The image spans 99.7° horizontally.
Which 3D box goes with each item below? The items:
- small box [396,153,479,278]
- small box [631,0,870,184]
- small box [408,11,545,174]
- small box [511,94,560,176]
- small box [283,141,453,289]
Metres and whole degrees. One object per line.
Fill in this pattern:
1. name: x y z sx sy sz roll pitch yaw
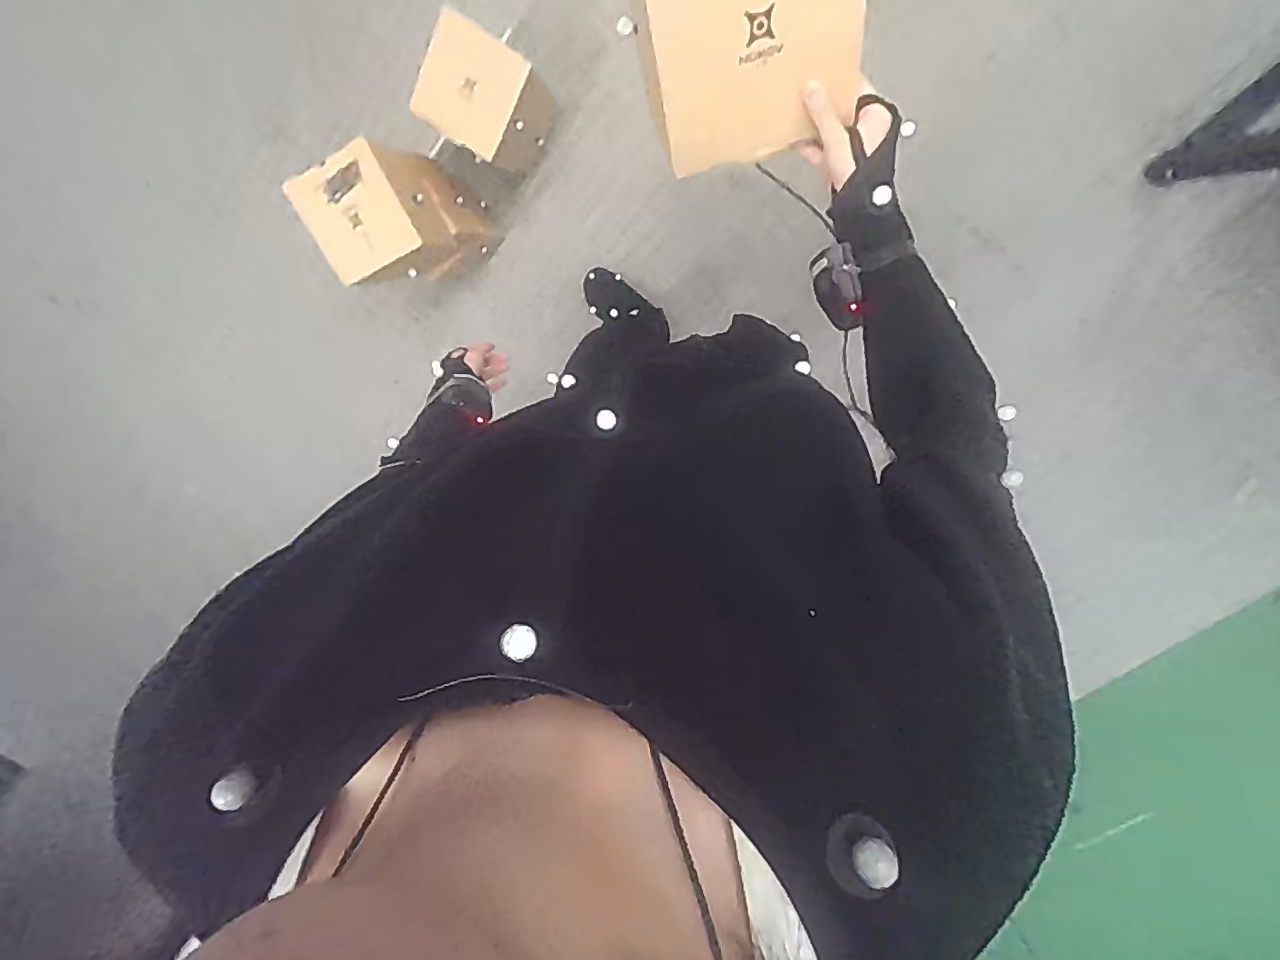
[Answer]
1. small box: -0.463 -0.526 1.107 0.179 0.176 0.168 -27 108 13
2. small box: 0.084 -0.400 0.465 0.168 0.176 0.179 -14 144 5
3. small box: -0.297 -0.709 1.018 0.168 0.176 0.179 30 111 -10
4. small box: -0.294 -0.785 1.163 0.179 0.176 0.168 34 110 -10
5. small box: -0.467 -0.457 0.958 0.168 0.176 0.179 -22 110 11
